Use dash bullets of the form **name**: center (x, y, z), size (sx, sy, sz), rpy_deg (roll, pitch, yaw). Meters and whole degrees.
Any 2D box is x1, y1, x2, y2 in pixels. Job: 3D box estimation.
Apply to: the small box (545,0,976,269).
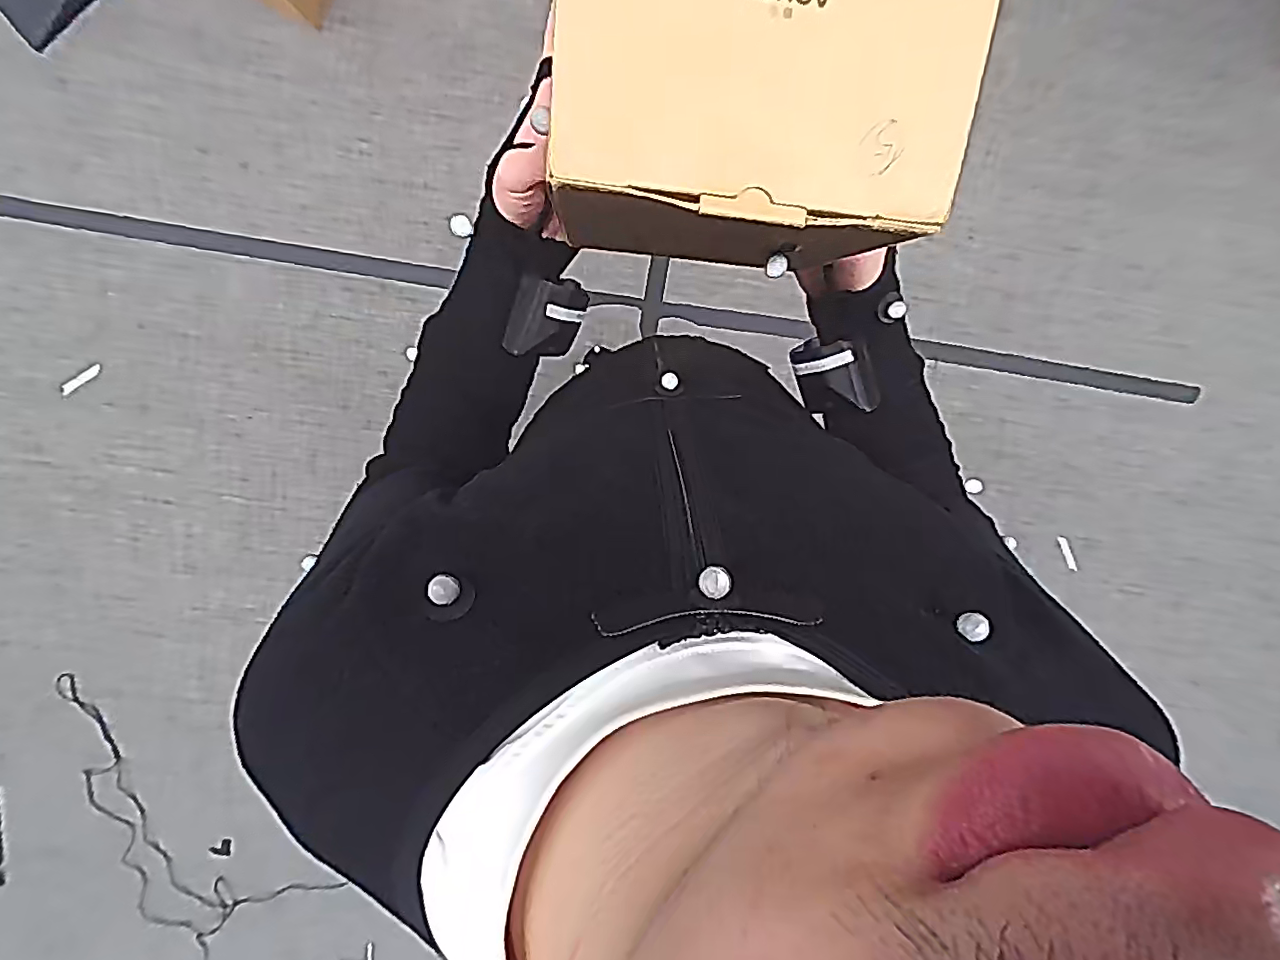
- **small box**: center (0.045, -0.216, 0.283), size (0.168, 0.176, 0.179), rpy_deg (4, 105, -7)
